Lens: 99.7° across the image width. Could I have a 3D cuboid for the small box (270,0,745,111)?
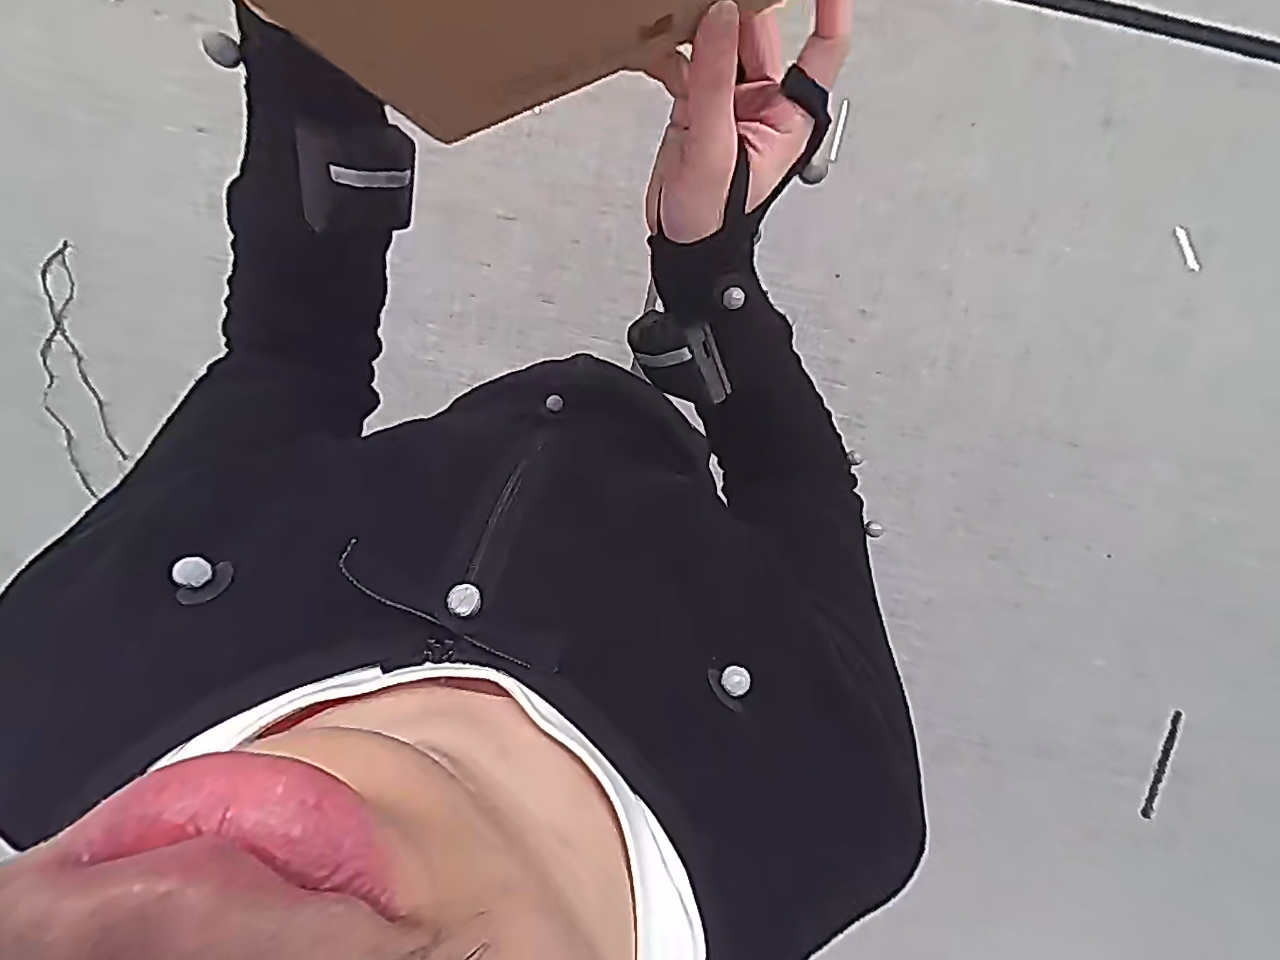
[{"bbox_3d":[-0.048,-0.239,0.151,0.168,0.176,0.179,-20,105,7],"label":"small box"}]
